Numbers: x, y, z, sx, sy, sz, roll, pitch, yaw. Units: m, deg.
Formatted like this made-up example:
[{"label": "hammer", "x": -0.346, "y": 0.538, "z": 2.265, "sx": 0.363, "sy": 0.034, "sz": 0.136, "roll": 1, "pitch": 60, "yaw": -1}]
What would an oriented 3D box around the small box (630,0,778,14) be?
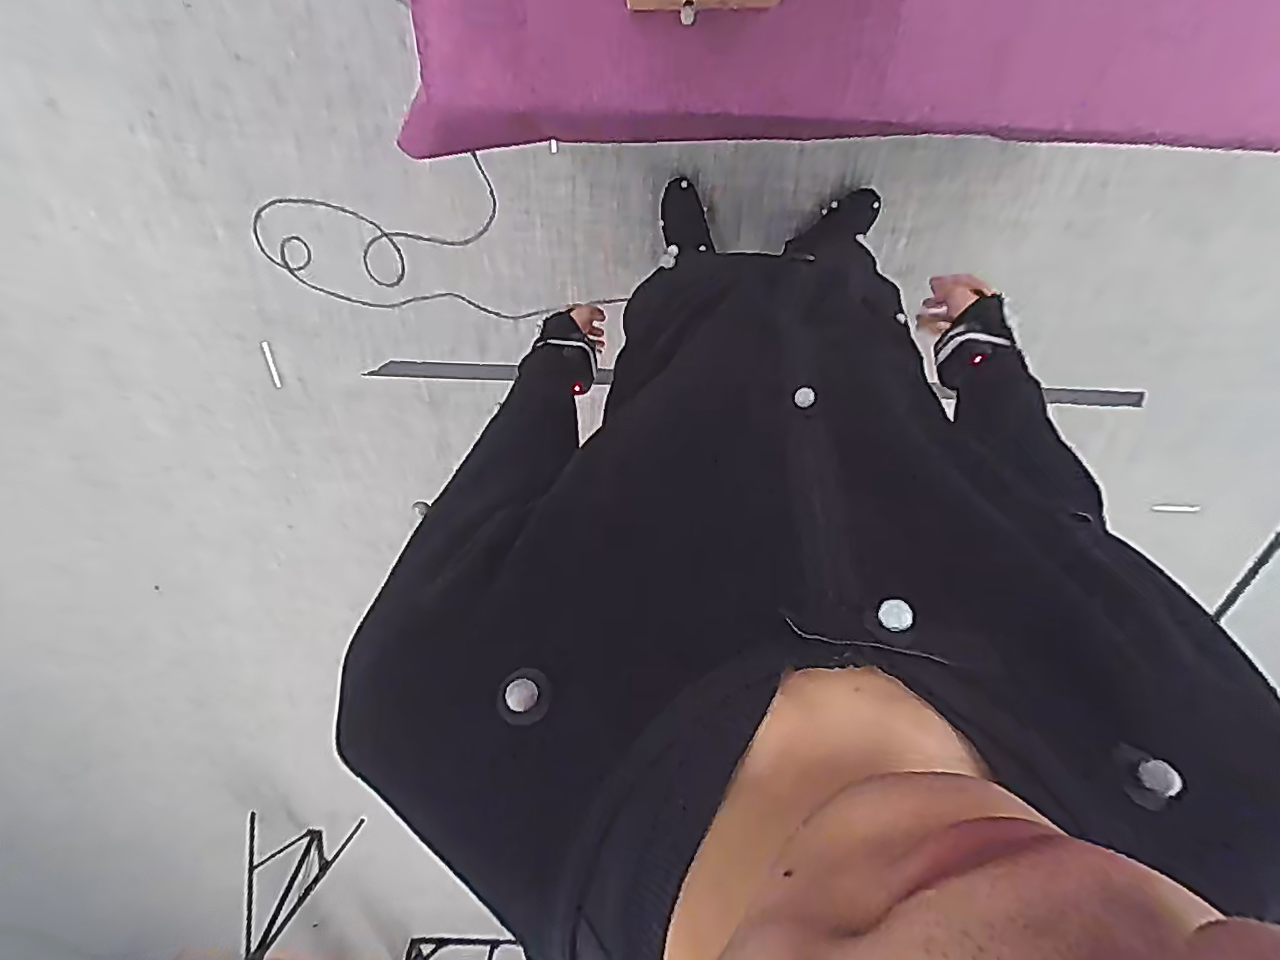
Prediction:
[{"label": "small box", "x": 0.062, "y": -0.546, "z": 0.481, "sx": 0.168, "sy": 0.176, "sz": 0.179, "roll": 0, "pitch": 122, "yaw": 2}]
